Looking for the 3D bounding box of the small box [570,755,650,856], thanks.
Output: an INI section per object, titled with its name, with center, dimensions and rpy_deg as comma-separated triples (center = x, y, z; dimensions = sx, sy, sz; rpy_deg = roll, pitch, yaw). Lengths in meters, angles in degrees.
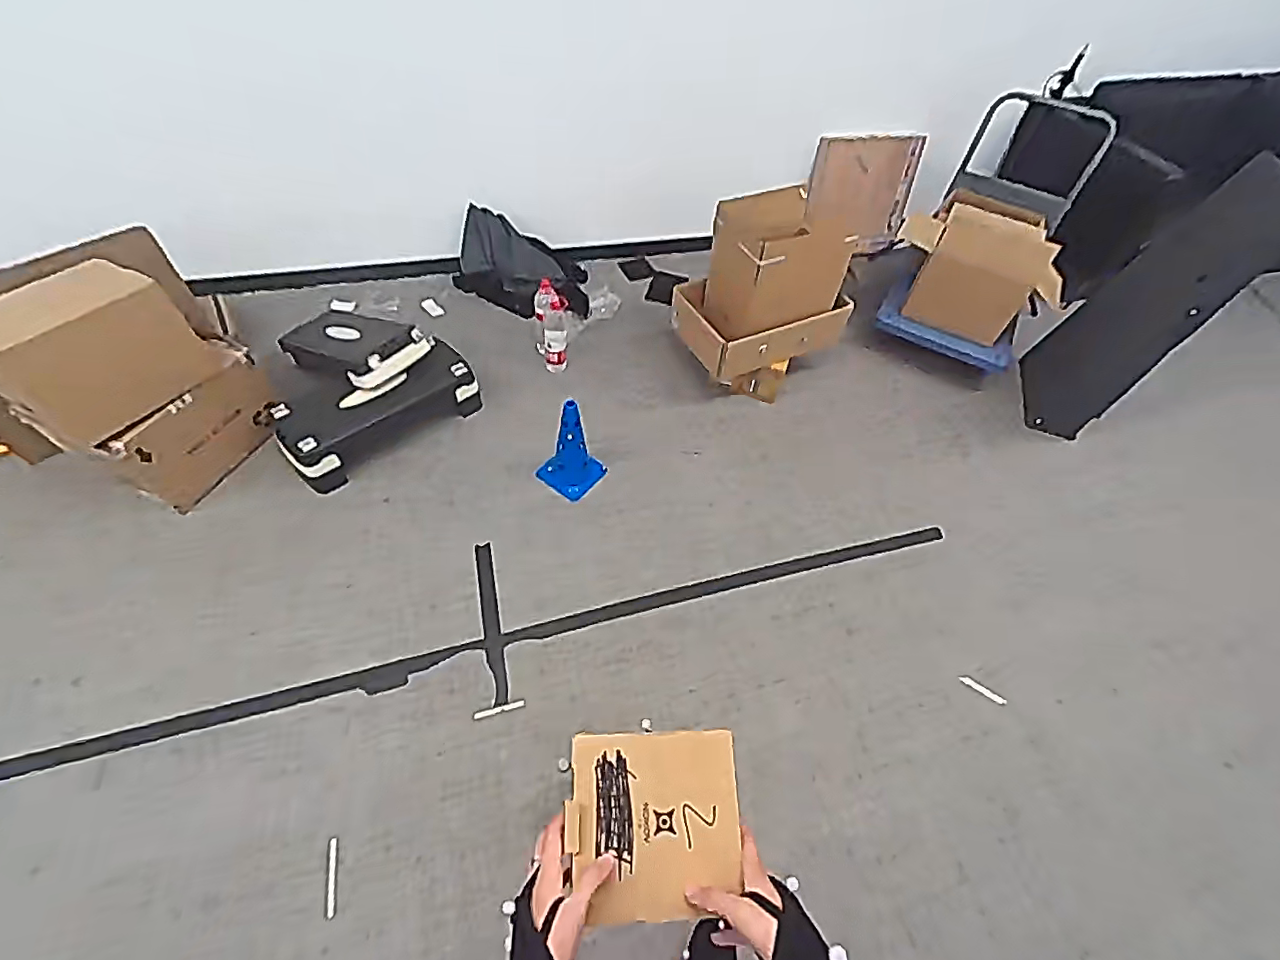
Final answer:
[small box]
center = -0.076, 0.787, 1.304
dimensions = 0.168, 0.176, 0.179
rpy_deg = -7, 54, -11
